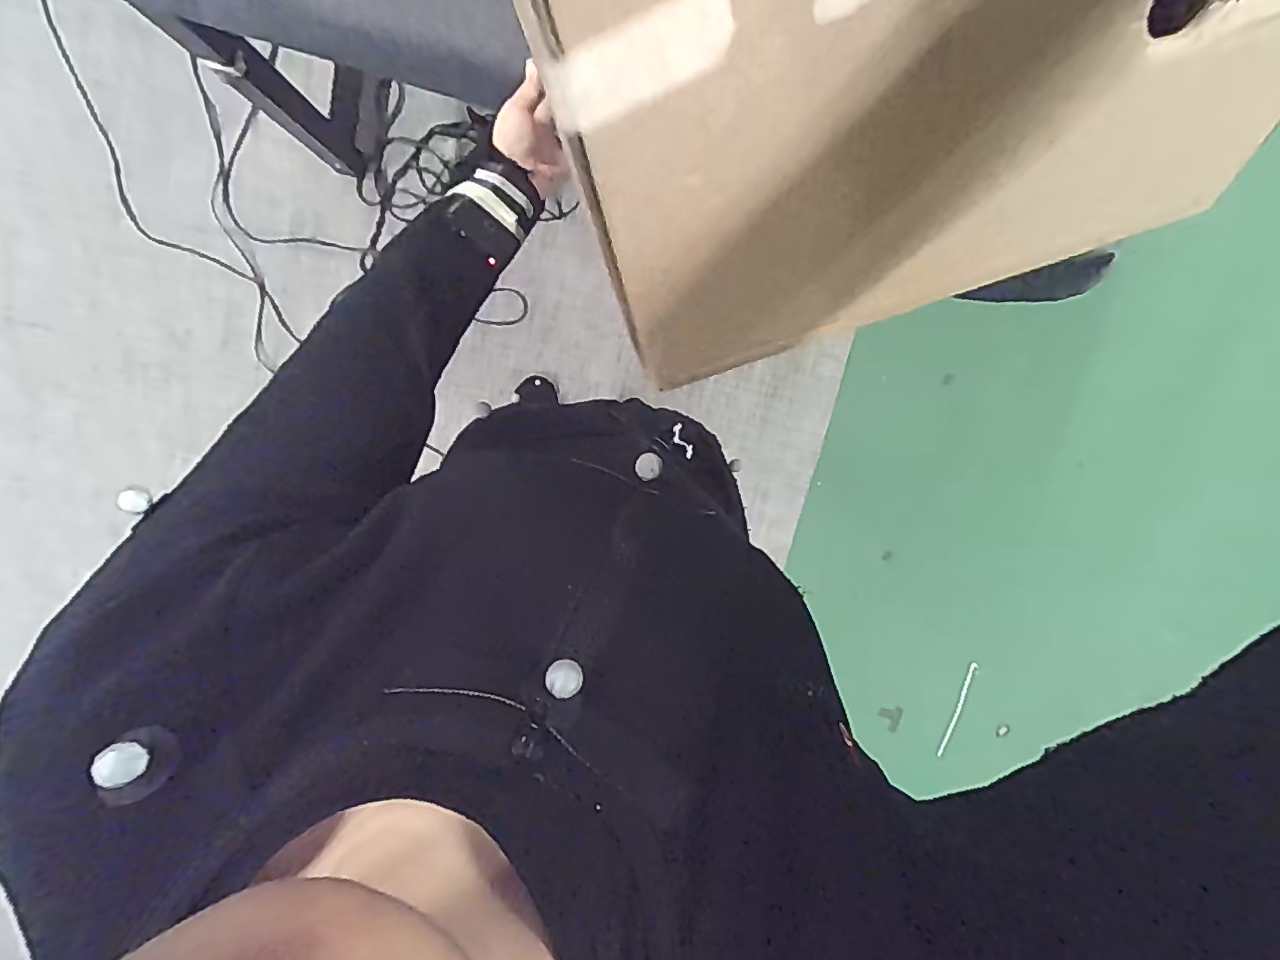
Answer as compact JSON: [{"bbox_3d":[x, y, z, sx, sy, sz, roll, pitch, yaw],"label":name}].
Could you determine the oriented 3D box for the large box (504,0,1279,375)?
[{"bbox_3d":[0.071,-0.334,0.265,0.320,0.320,0.408,-20,61,2],"label":"large box"}]
